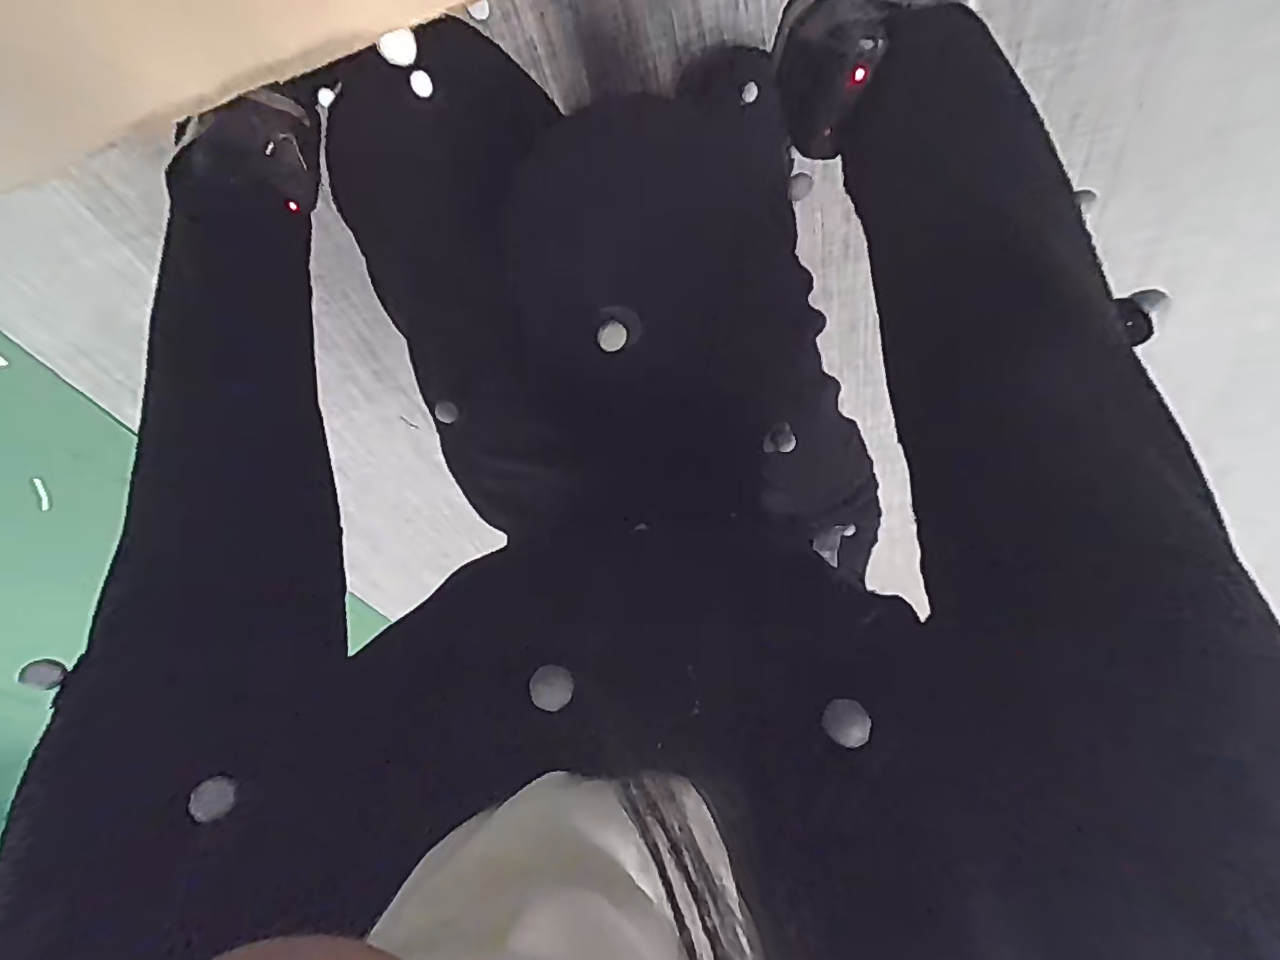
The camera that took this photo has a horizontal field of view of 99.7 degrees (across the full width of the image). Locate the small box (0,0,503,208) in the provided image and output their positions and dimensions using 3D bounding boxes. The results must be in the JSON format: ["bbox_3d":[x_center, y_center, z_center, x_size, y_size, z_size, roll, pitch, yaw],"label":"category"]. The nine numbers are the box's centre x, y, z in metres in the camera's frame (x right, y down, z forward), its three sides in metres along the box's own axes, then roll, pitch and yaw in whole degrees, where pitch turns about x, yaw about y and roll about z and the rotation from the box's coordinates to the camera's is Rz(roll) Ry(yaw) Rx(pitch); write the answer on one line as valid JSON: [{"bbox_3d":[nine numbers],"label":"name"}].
[{"bbox_3d":[-0.135,-0.199,0.130,0.179,0.176,0.168,-8,138,15],"label":"small box"}]
